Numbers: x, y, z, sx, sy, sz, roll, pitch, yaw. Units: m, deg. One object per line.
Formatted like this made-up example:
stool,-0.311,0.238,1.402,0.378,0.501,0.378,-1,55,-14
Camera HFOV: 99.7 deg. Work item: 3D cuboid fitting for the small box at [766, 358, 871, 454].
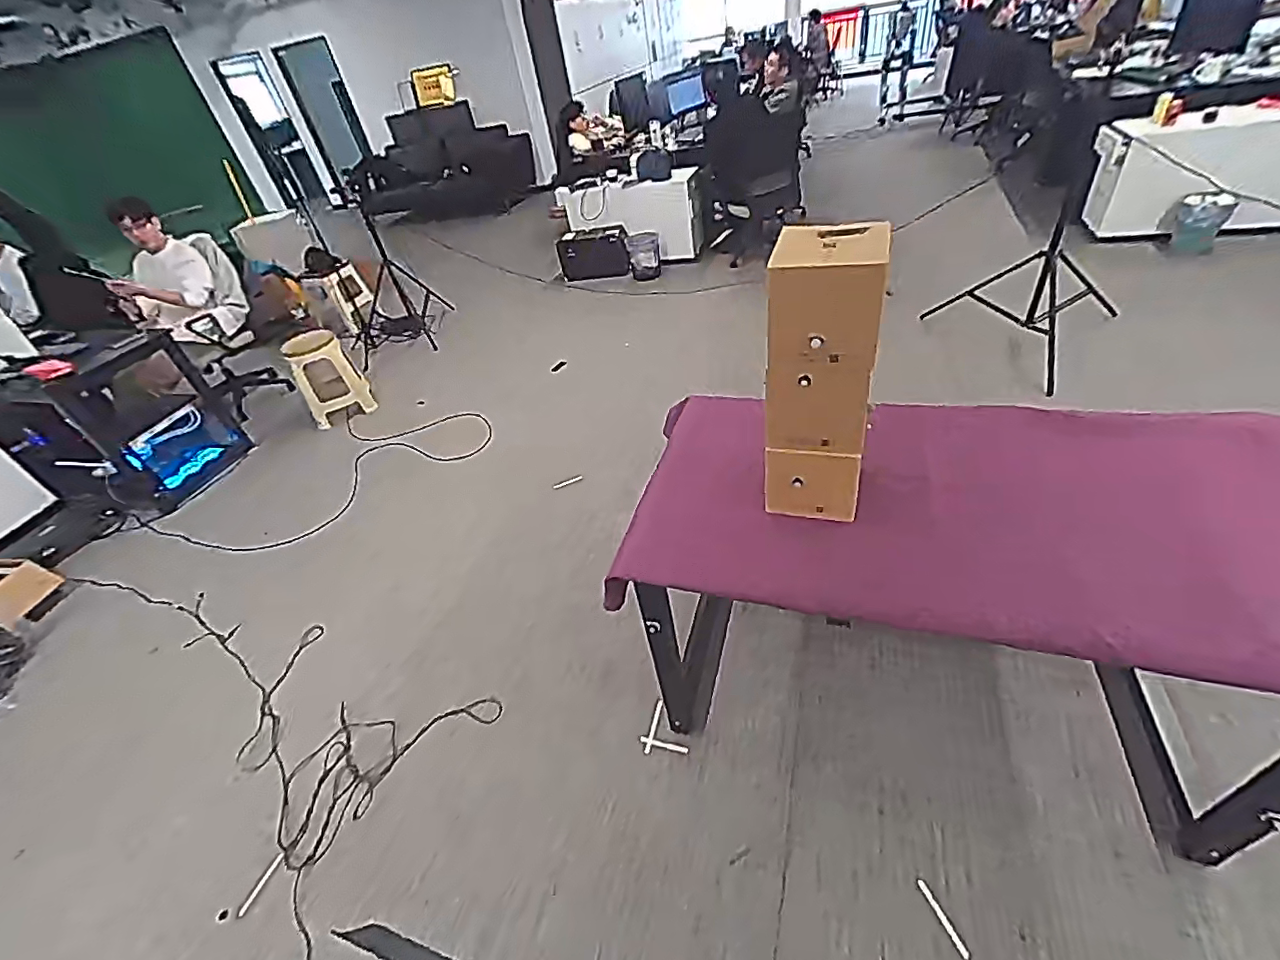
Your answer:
small box,0.321,-0.169,0.973,0.168,0.176,0.179,5,41,20

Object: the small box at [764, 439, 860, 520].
small box,0.345,-0.040,1.073,0.168,0.176,0.179,6,42,20

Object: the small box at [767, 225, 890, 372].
small box,0.299,-0.292,0.866,0.168,0.176,0.179,6,43,20
